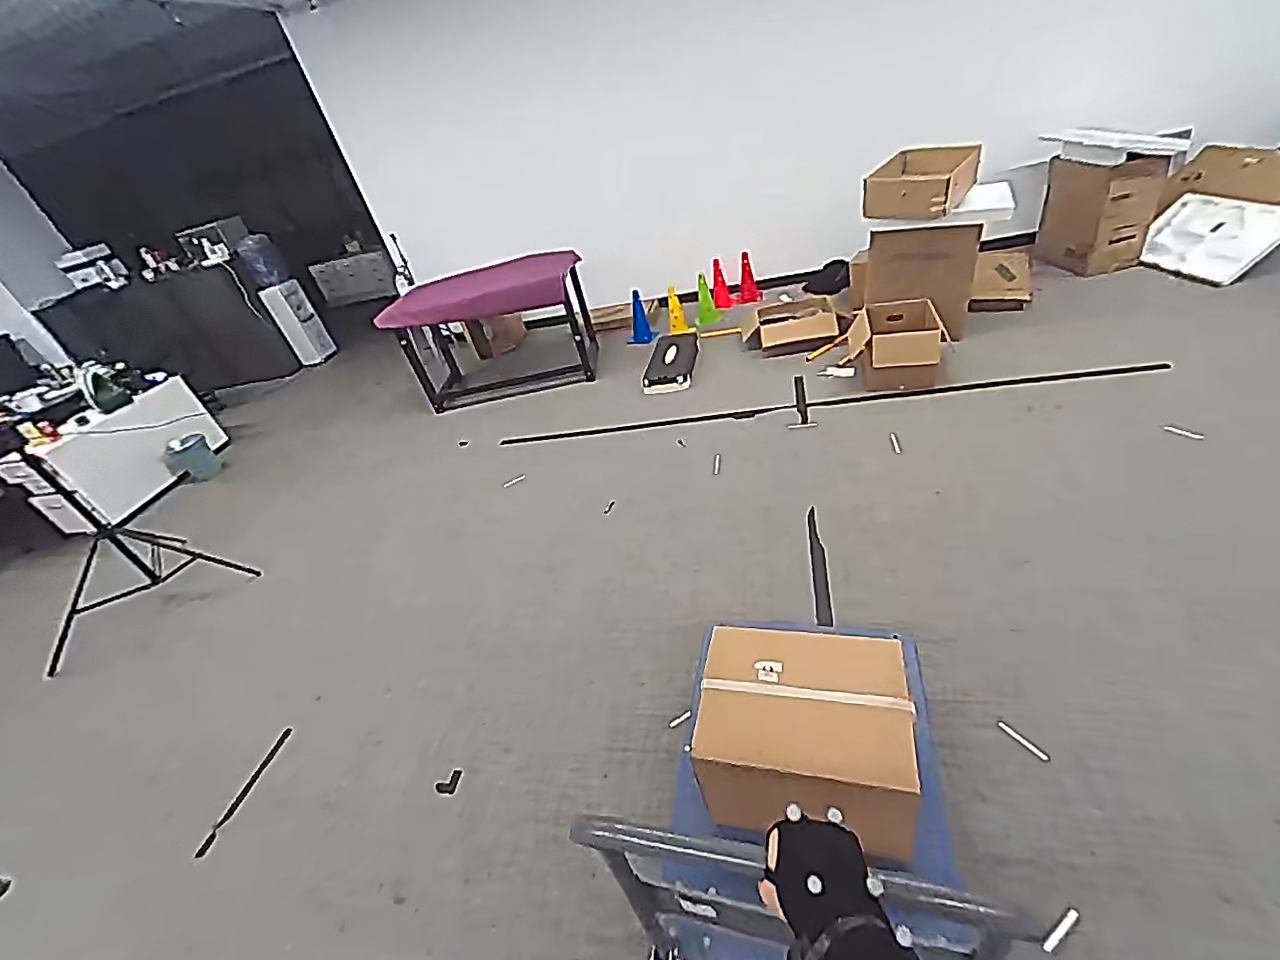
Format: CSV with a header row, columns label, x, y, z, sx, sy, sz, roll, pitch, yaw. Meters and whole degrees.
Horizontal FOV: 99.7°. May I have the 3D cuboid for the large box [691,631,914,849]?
label,x,y,z,sx,sy,sz,roll,pitch,yaw
large box,0.358,0.561,1.195,0.408,0.320,0.320,-3,36,20
